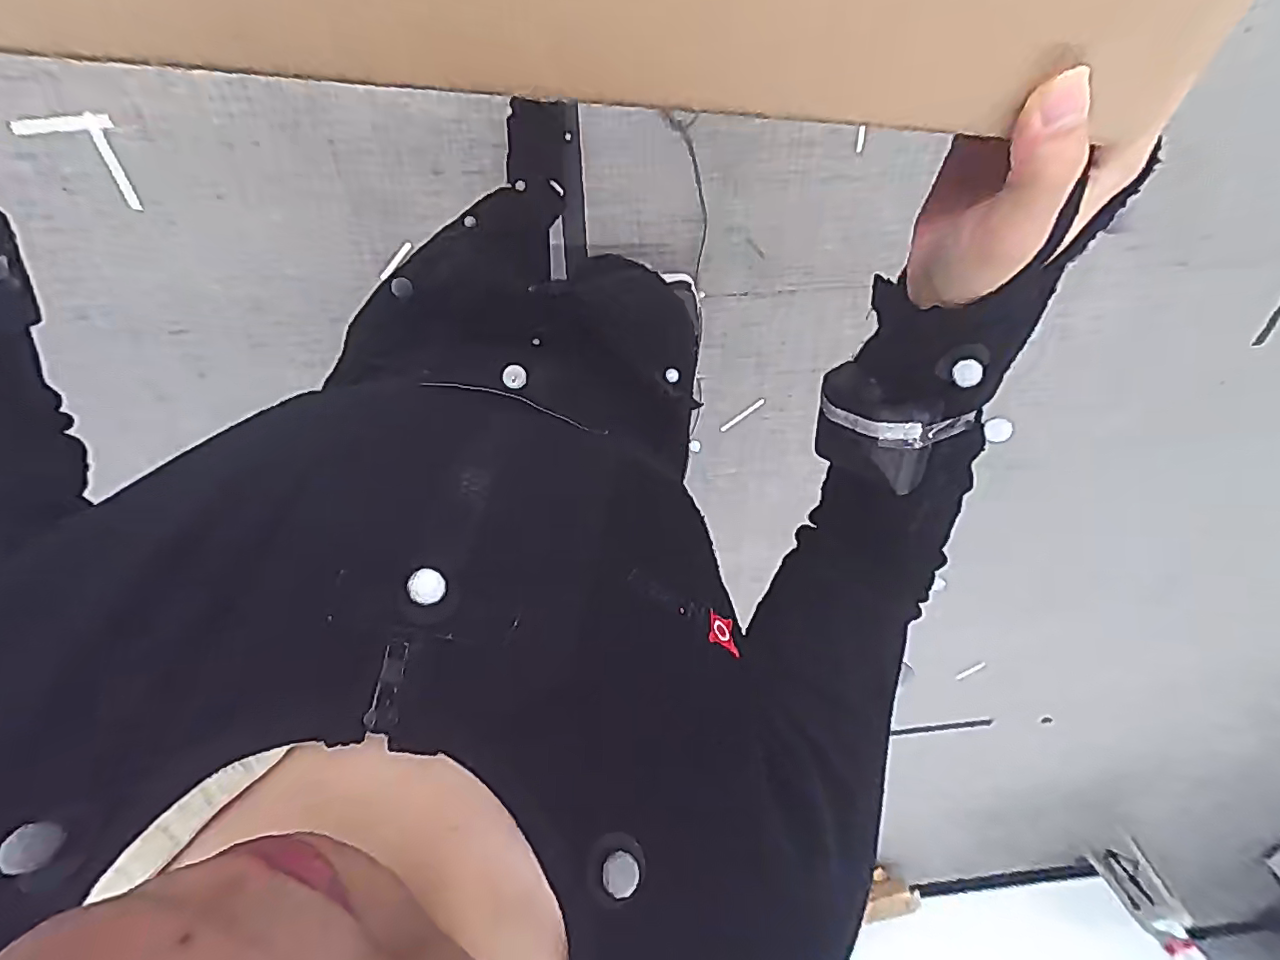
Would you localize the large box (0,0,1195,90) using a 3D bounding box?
[{"bbox_3d":[-0.030,-0.341,0.133,0.408,0.320,0.320,2,145,-3],"label":"large box"}]
